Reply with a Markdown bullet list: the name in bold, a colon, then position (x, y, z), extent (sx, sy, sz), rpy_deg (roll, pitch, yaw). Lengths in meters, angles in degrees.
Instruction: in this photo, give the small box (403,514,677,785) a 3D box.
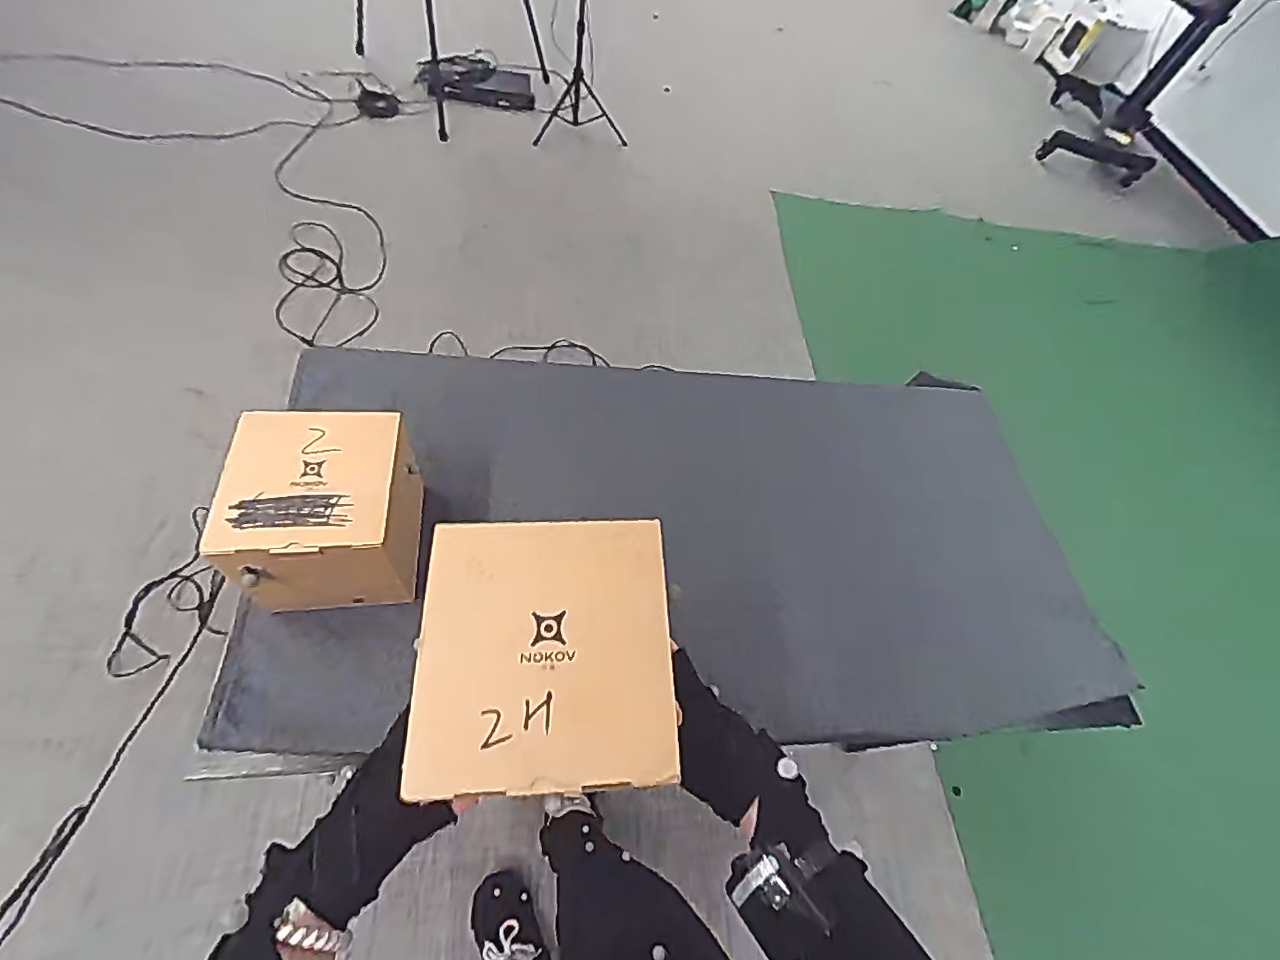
- **small box**: position (-0.068, 0.140, 0.431), extent (0.168, 0.176, 0.179), rpy_deg (0, 61, -5)
